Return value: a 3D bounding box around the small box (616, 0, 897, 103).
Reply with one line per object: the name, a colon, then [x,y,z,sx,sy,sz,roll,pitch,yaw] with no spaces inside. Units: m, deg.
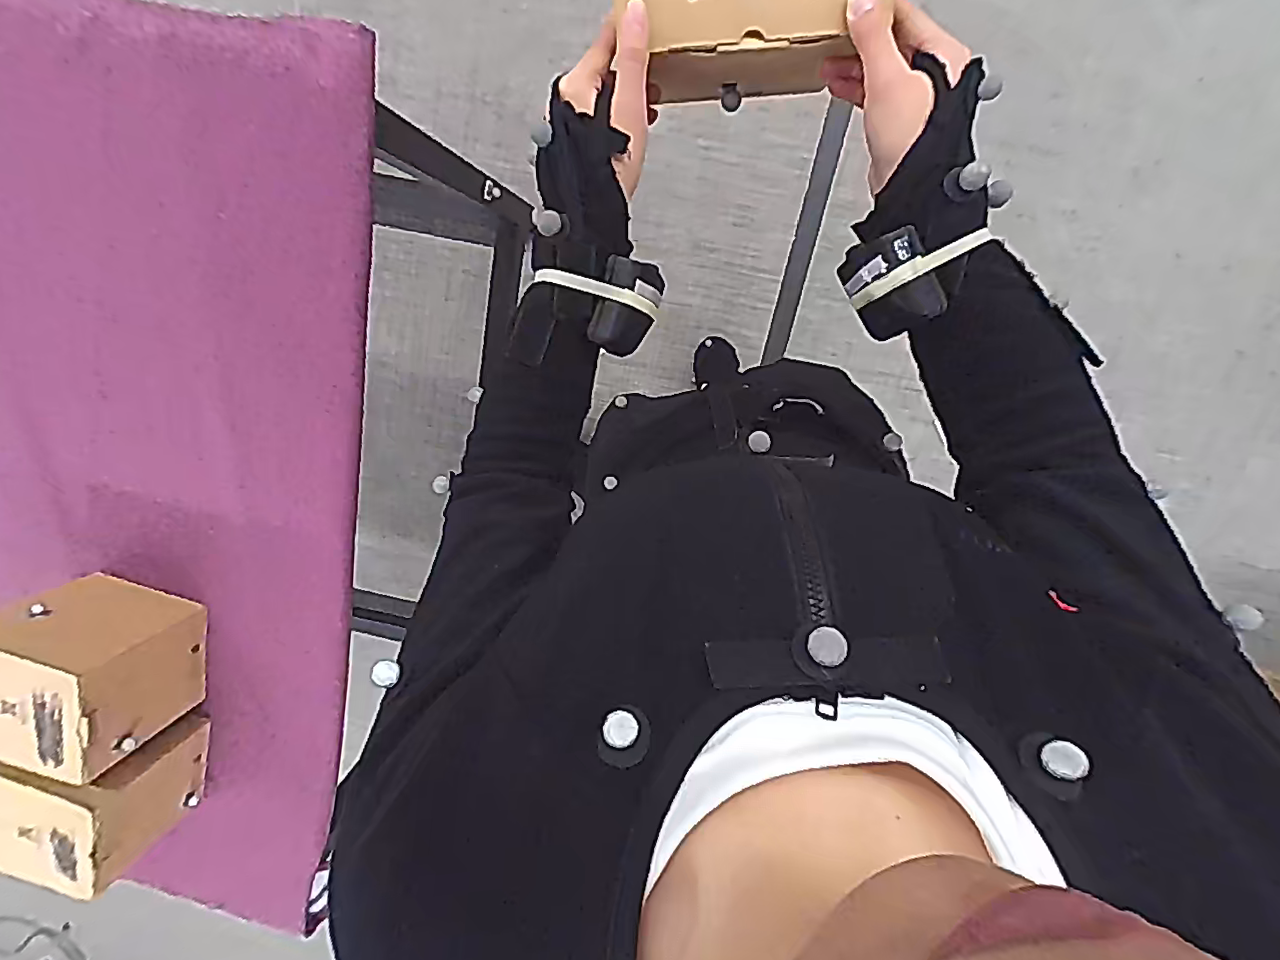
small box: [0.067,-0.376,0.358,0.168,0.176,0.179,-1,115,4]
